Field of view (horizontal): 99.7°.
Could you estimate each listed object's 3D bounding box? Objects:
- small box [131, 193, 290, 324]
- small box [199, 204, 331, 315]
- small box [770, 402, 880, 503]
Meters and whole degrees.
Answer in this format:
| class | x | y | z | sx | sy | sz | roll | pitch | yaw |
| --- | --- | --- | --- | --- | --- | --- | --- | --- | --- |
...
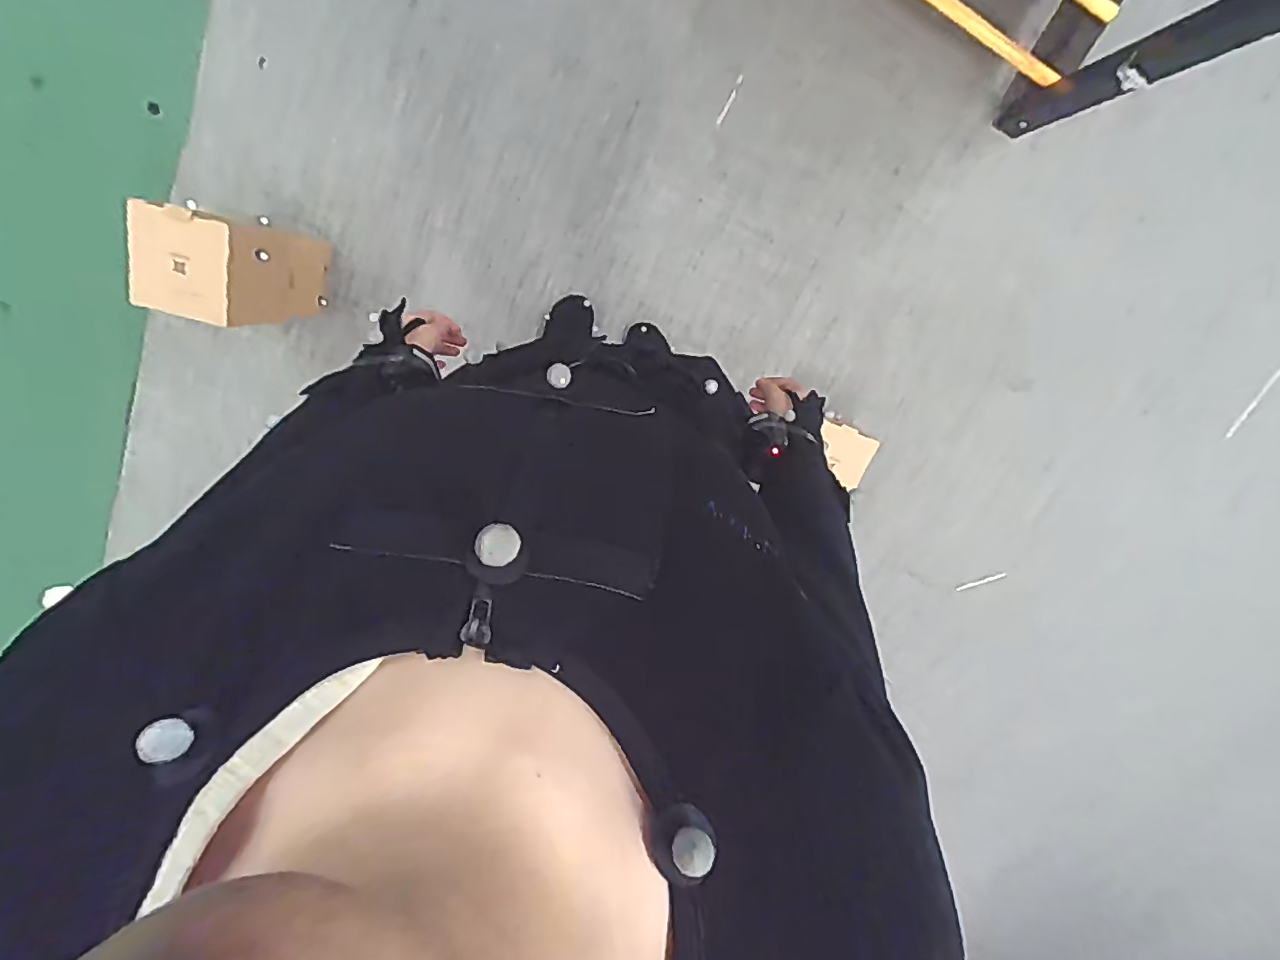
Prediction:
| class | x | y | z | sx | sy | sz | roll | pitch | yaw |
| --- | --- | --- | --- | --- | --- | --- | --- | --- | --- |
| small box | -0.777 | -0.399 | 0.994 | 0.168 | 0.176 | 0.179 | 14 | 109 | -4 |
| small box | -0.786 | -0.461 | 1.144 | 0.179 | 0.176 | 0.168 | 16 | 108 | -6 |
| small box | 0.436 | -0.074 | 1.312 | 0.168 | 0.176 | 0.179 | 20 | 107 | -8 |
